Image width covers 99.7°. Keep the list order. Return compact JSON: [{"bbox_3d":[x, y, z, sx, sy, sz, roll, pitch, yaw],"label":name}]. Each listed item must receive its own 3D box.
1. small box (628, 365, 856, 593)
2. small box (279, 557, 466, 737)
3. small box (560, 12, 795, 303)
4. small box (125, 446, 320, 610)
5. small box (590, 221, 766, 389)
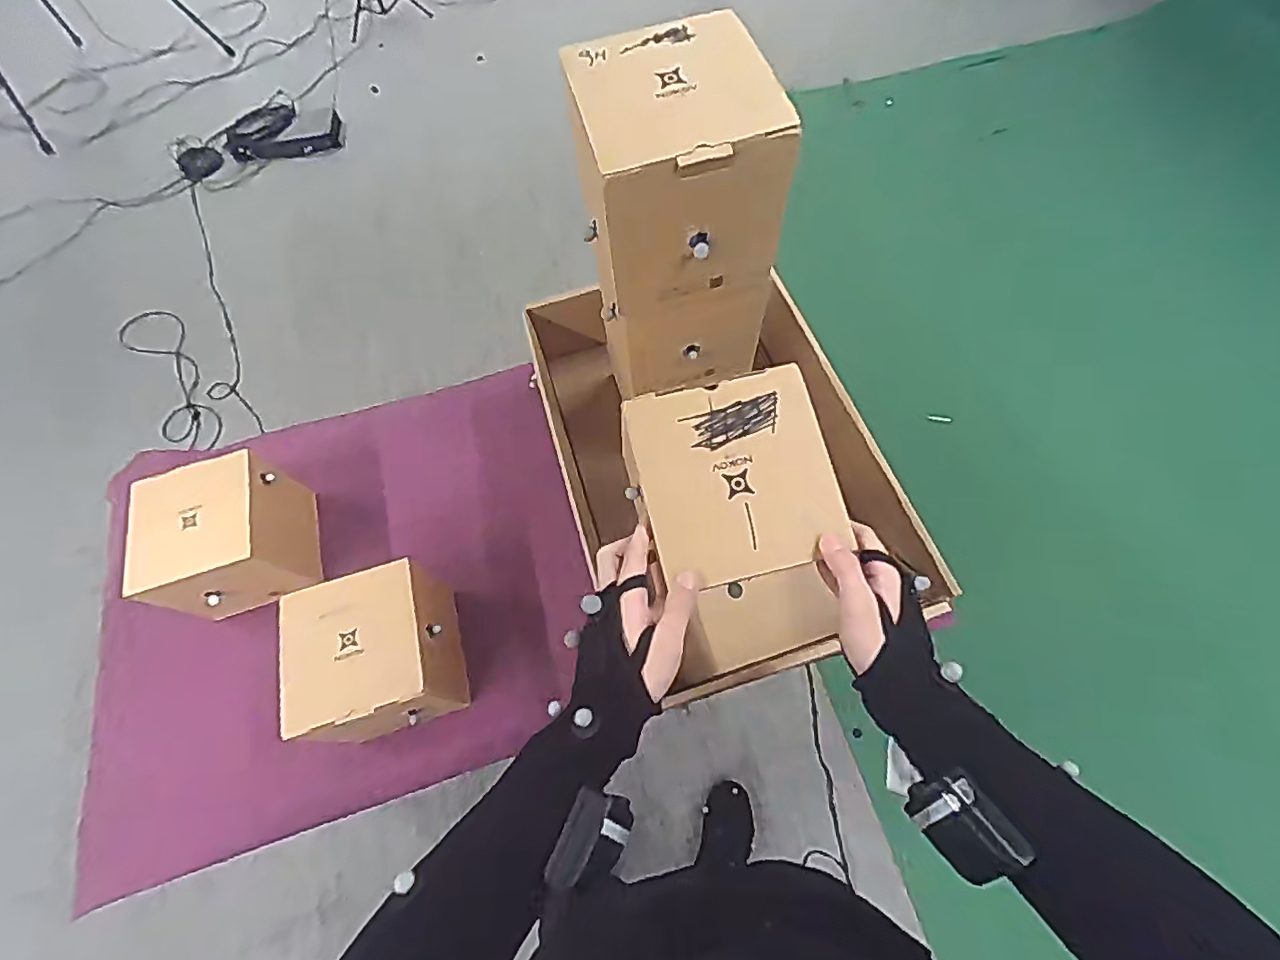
[{"bbox_3d":[0.083,0.011,0.544,0.168,0.176,0.179,-12,78,-3],"label":"small box"},{"bbox_3d":[-0.347,0.228,0.723,0.168,0.176,0.179,-16,63,-5],"label":"small box"},{"bbox_3d":[0.031,-0.298,0.529,0.168,0.176,0.179,-15,67,-3],"label":"small box"},{"bbox_3d":[-0.607,0.082,0.809,0.168,0.176,0.179,-18,64,-5],"label":"small box"},{"bbox_3d":[0.043,-0.234,0.680,0.168,0.176,0.179,-15,66,-3],"label":"small box"}]
